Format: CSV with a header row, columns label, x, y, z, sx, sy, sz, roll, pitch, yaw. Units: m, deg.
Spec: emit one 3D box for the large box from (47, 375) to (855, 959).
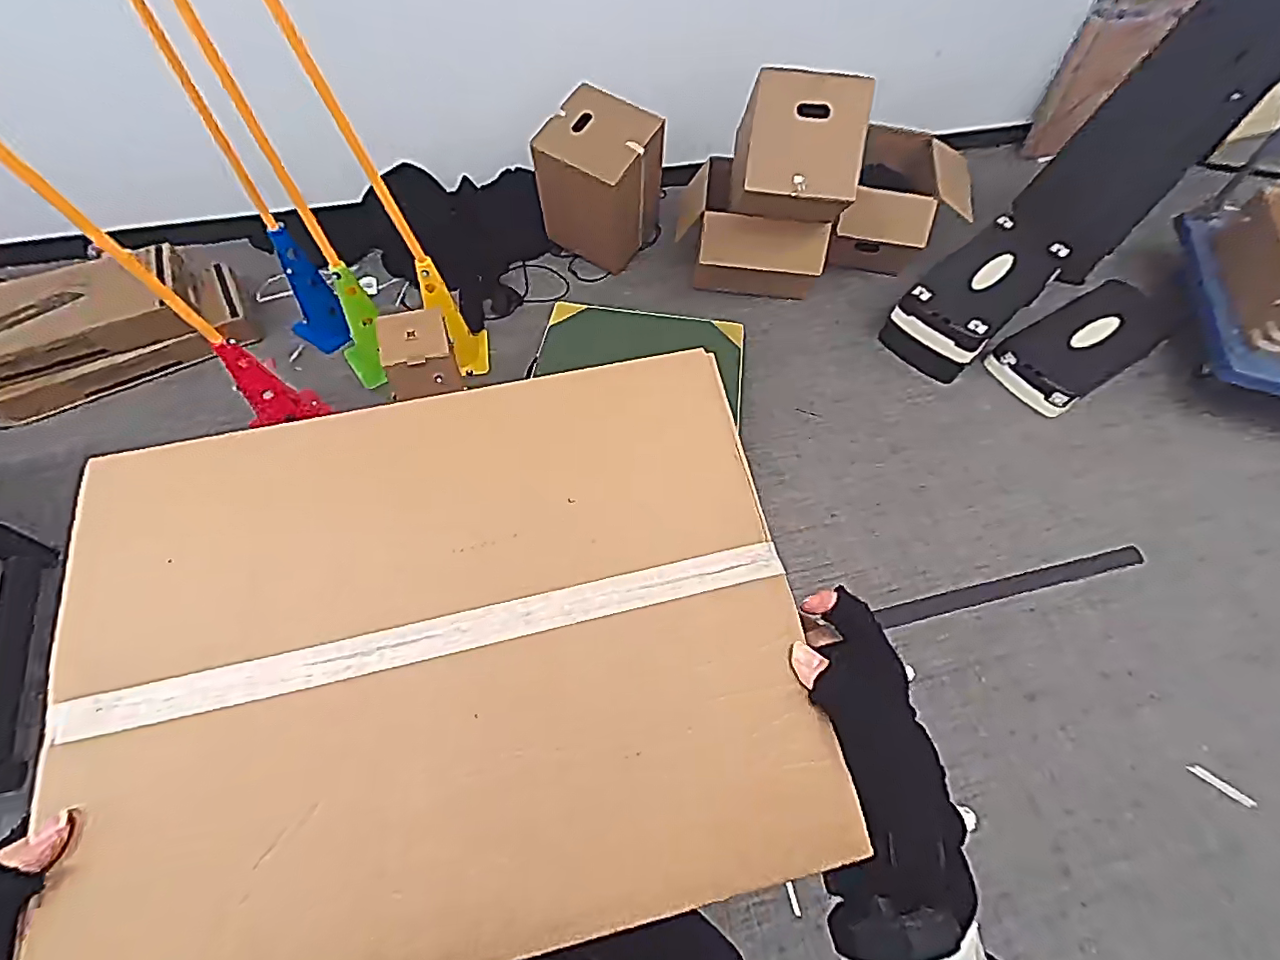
label,x,y,z,sx,sy,sz,roll,pitch,yaw
large box,-0.113,0.156,0.452,0.408,0.320,0.320,-12,69,-6
